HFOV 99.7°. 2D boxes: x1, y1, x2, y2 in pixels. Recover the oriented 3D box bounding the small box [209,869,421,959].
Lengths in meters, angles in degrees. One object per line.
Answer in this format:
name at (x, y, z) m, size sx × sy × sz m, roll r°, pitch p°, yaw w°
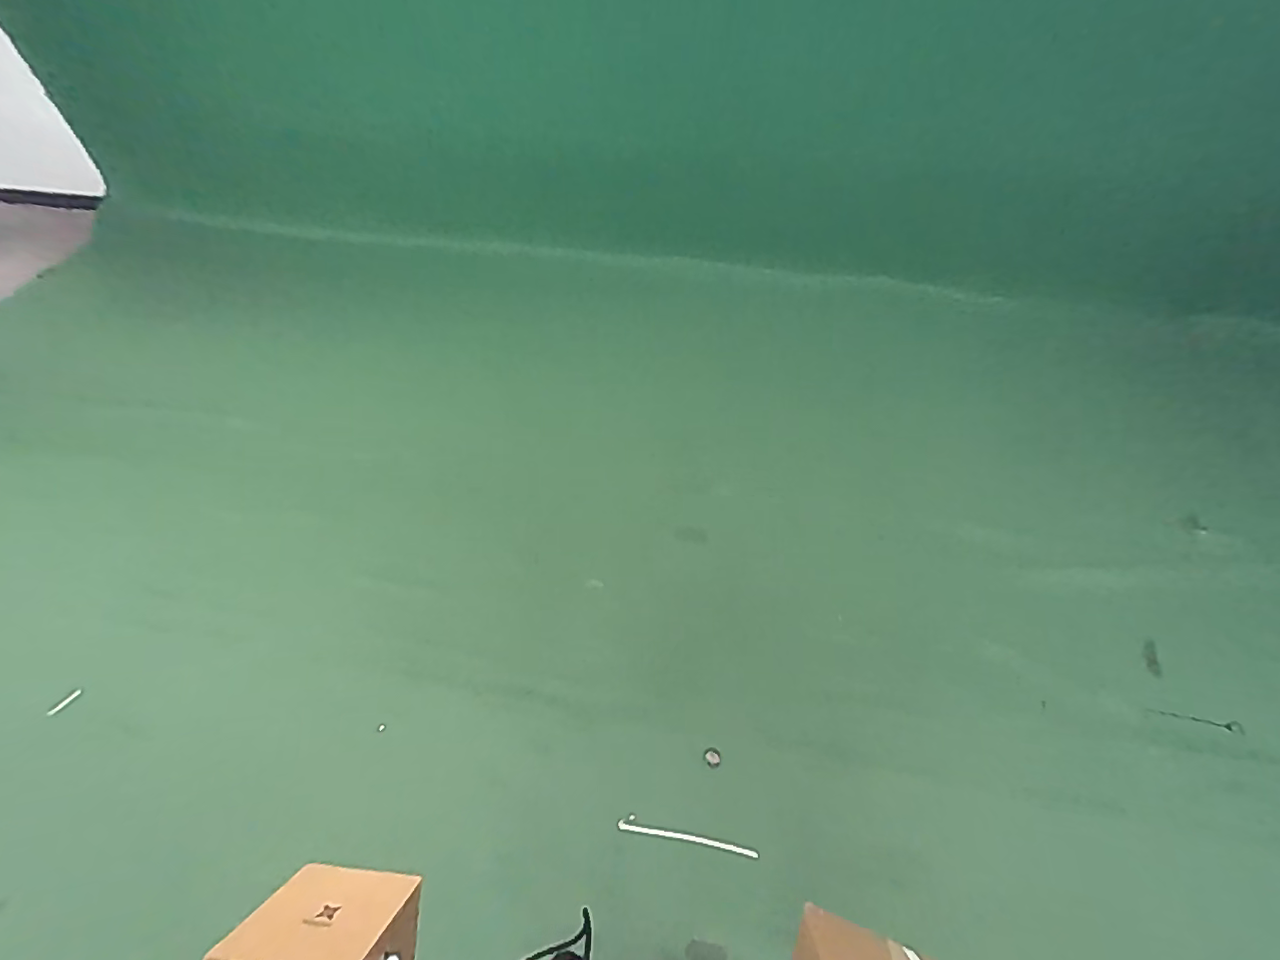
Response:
small box at (-0.391, 0.617, 0.650) m, size 0.168 × 0.179 × 0.176 m, roll 4°, pitch 85°, yaw 3°
